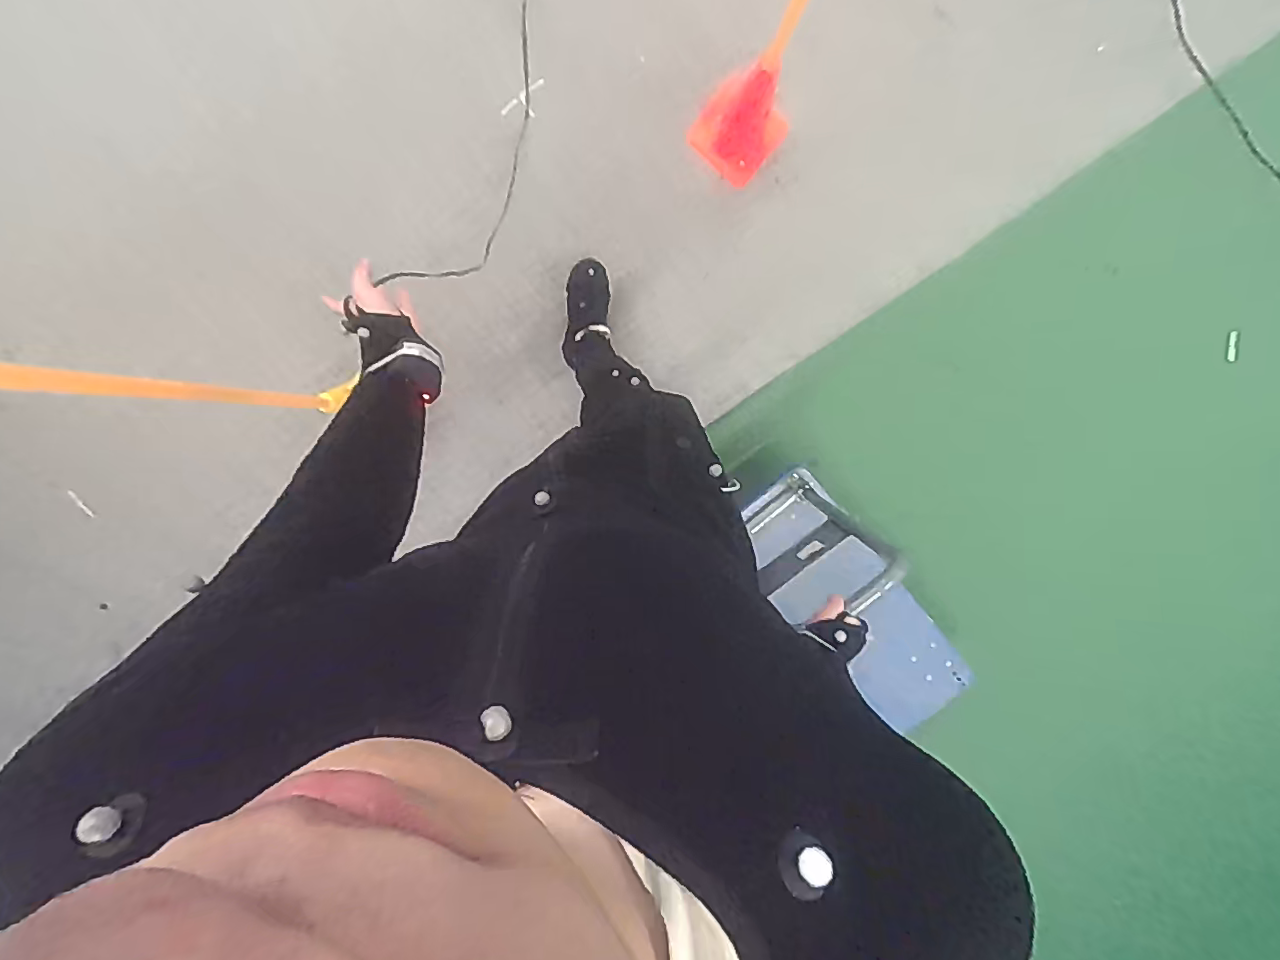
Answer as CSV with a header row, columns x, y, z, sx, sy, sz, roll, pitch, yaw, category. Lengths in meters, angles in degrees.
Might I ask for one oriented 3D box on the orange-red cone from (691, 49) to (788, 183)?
x,y,z,sx,sy,sz,roll,pitch,yaw,category
0.265,-0.876,1.244,0.198,0.360,0.199,40,98,-10,orange-red cone
